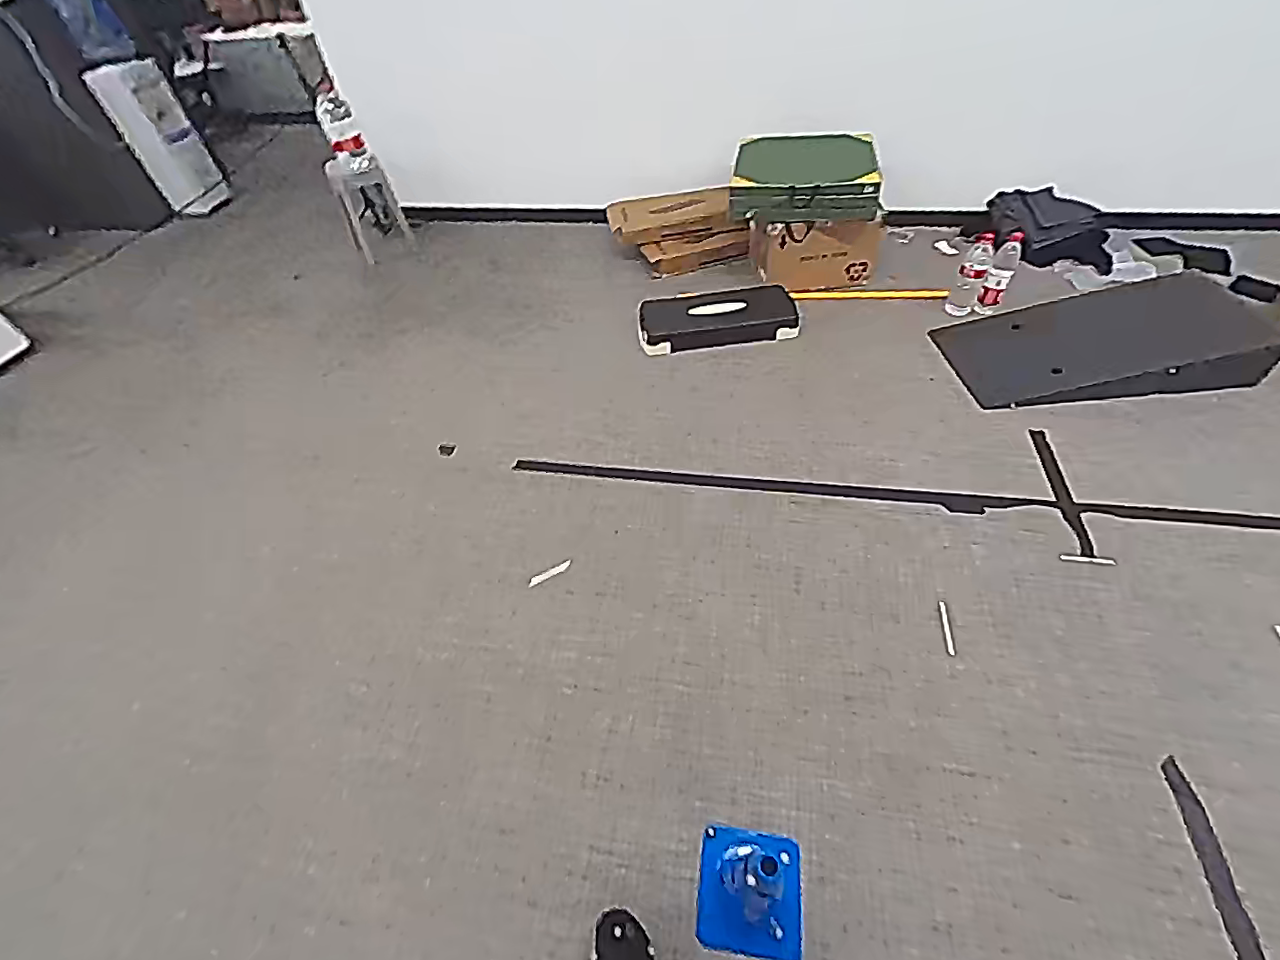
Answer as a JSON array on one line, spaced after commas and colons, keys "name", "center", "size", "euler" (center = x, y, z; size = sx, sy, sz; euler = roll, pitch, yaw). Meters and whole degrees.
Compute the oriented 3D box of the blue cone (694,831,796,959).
[{"name": "blue cone", "center": [0.193, 0.701, 0.940], "size": [0.192, 0.380, 0.193], "euler": [5, 49, 11]}]
